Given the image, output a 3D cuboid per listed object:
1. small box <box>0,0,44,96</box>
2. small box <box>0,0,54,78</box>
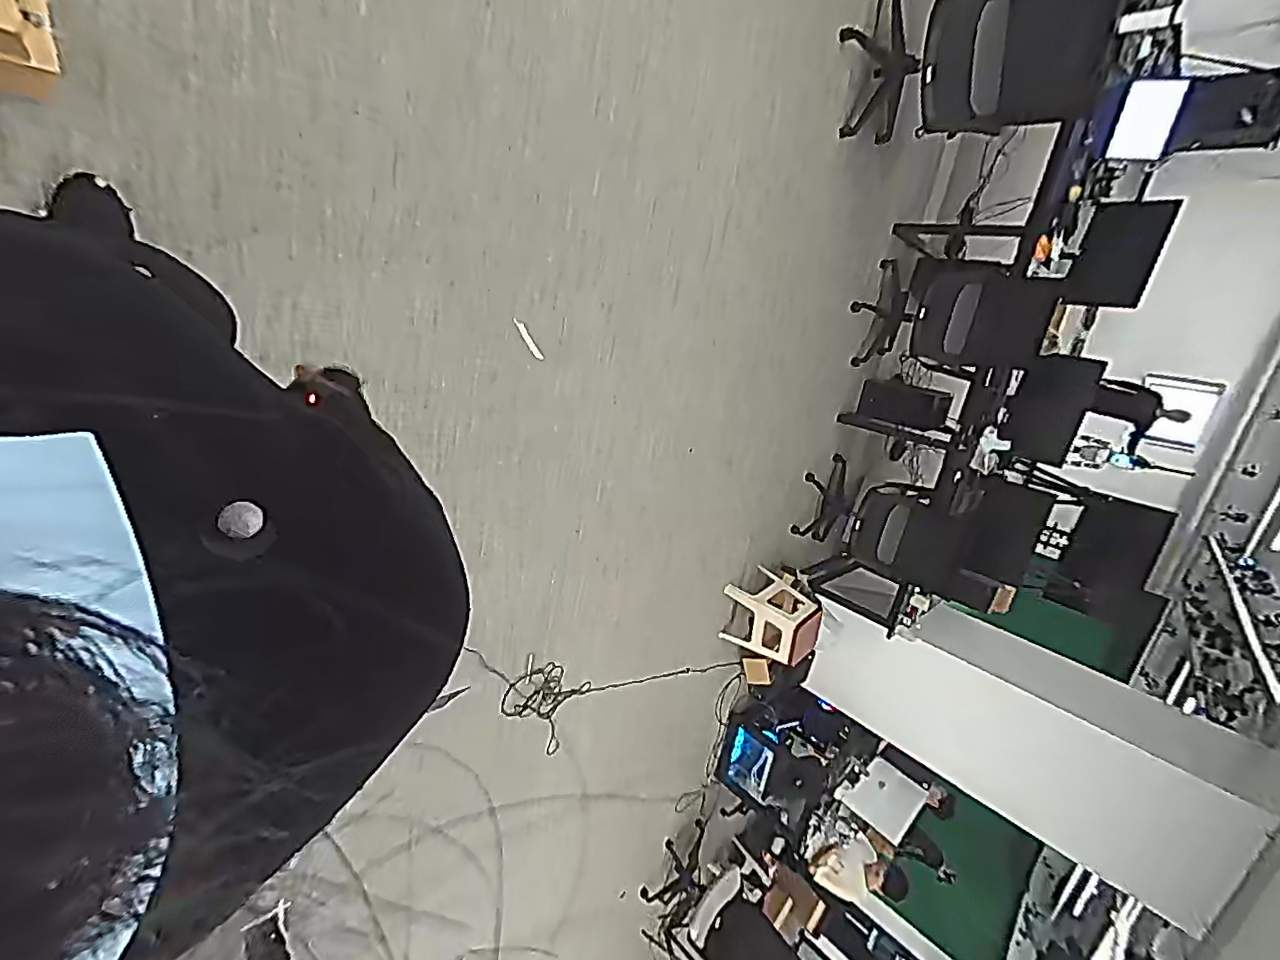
[{"bbox_3d":[-0.994,-0.698,0.787,0.168,0.176,0.179,-2,110,-48],"label":"small box"},{"bbox_3d":[-0.886,-0.636,0.682,0.179,0.176,0.168,-13,118,-43],"label":"small box"}]
